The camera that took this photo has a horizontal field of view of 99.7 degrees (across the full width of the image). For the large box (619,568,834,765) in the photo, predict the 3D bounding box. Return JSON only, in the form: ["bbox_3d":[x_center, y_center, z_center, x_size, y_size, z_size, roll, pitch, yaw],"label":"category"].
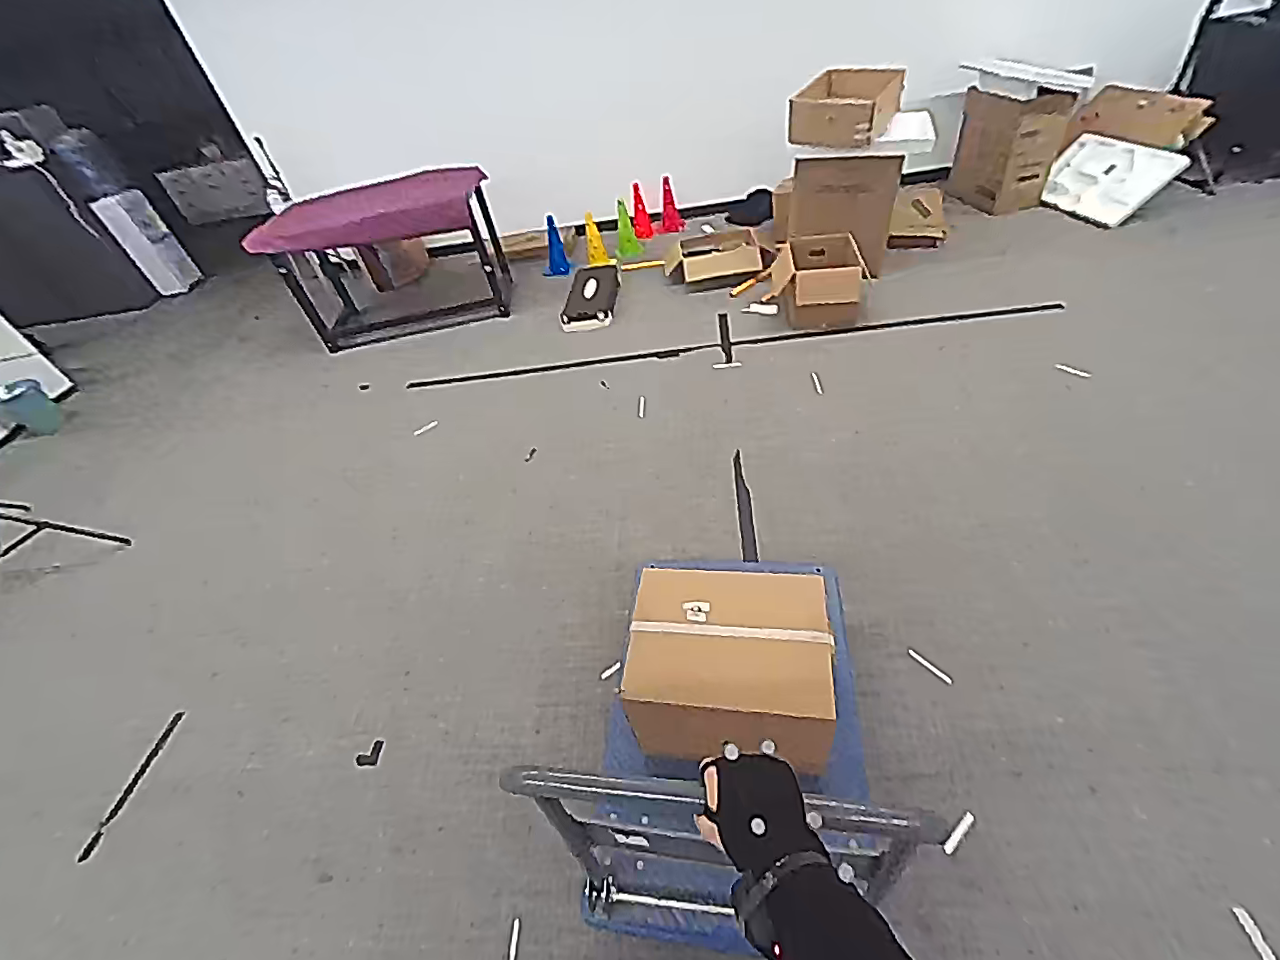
[{"bbox_3d":[0.201,0.412,1.208,0.408,0.320,0.320,-1,44,14],"label":"large box"}]
